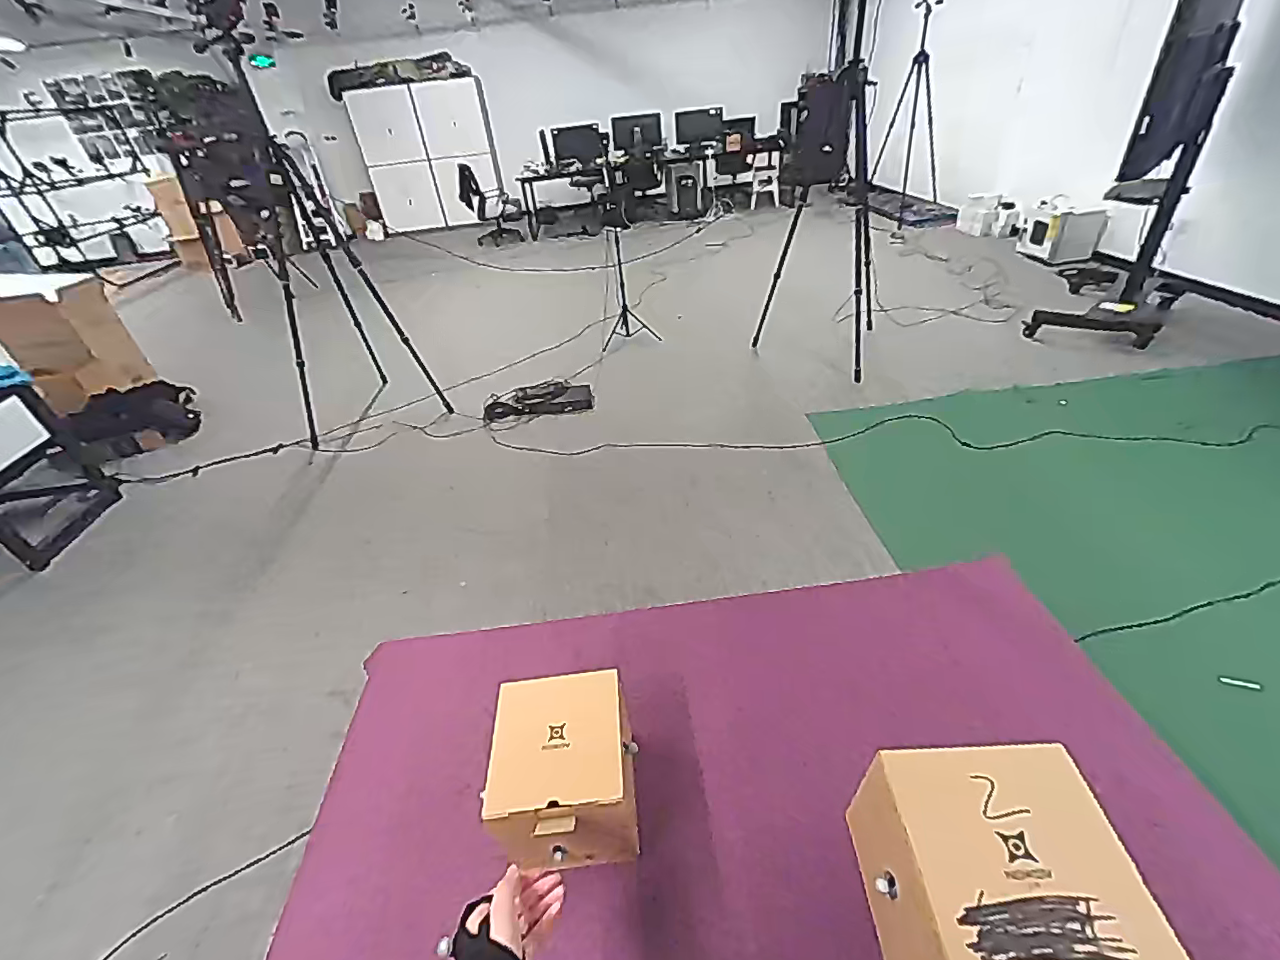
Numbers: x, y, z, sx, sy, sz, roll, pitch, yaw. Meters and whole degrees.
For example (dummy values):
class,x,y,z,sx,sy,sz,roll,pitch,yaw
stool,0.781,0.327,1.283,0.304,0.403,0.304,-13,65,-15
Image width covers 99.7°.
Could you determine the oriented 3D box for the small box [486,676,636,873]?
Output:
class,x,y,z,sx,sy,sz,roll,pitch,yaw
small box,-0.098,0.401,0.743,0.168,0.176,0.179,-7,36,0
